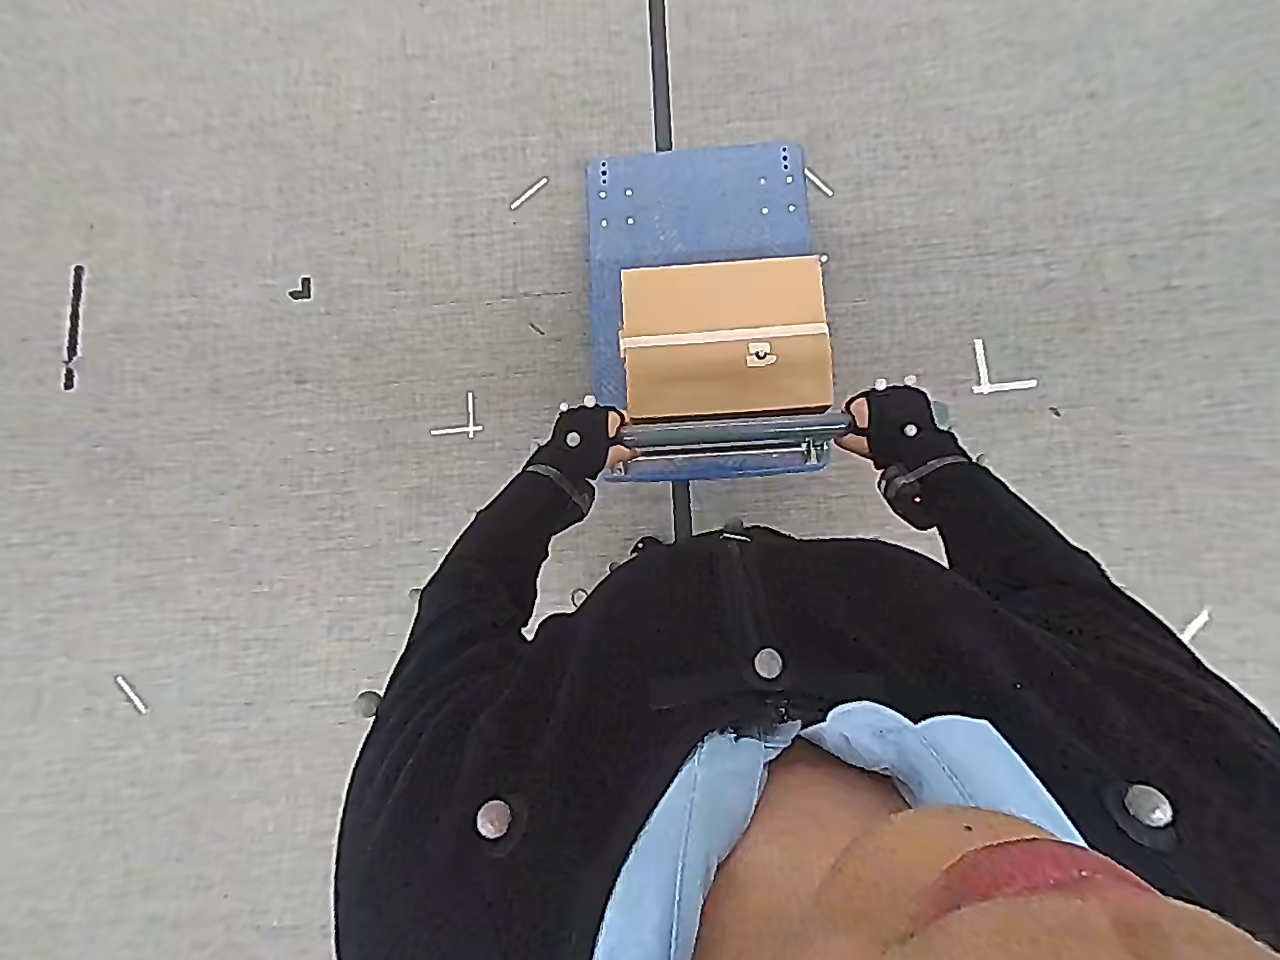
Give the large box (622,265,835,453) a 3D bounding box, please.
[{"bbox_3d":[0.176,-0.249,1.214,0.408,0.320,0.320,-3,84,2],"label":"large box"}]
